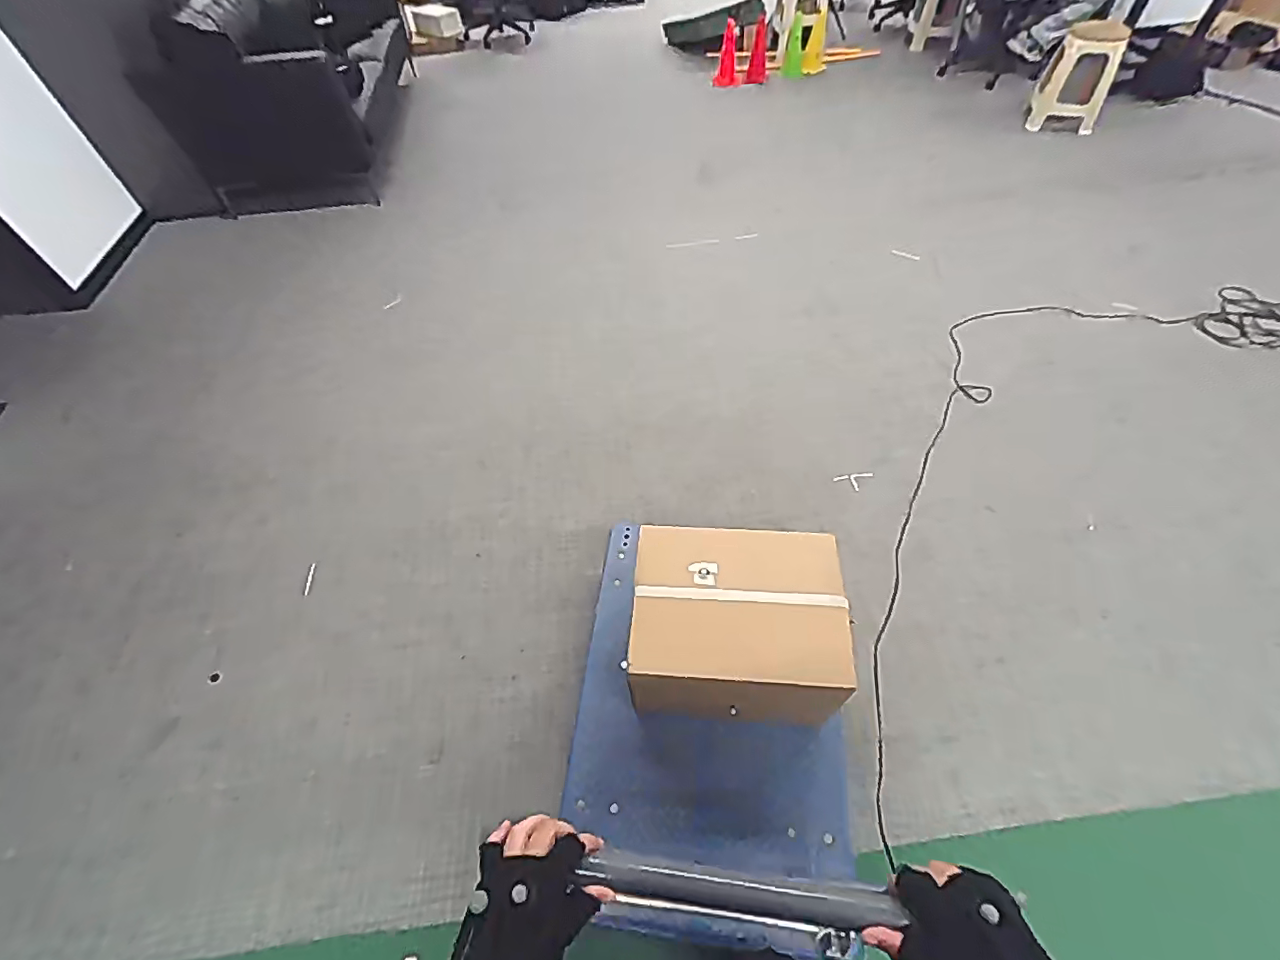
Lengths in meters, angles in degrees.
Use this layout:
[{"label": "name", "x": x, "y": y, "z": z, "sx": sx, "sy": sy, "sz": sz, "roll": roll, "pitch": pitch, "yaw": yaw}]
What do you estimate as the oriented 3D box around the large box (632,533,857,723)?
[{"label": "large box", "x": 0.204, "y": 0.324, "z": 1.165, "sx": 0.408, "sy": 0.320, "sz": 0.320, "roll": 1, "pitch": 52, "yaw": 6}]
